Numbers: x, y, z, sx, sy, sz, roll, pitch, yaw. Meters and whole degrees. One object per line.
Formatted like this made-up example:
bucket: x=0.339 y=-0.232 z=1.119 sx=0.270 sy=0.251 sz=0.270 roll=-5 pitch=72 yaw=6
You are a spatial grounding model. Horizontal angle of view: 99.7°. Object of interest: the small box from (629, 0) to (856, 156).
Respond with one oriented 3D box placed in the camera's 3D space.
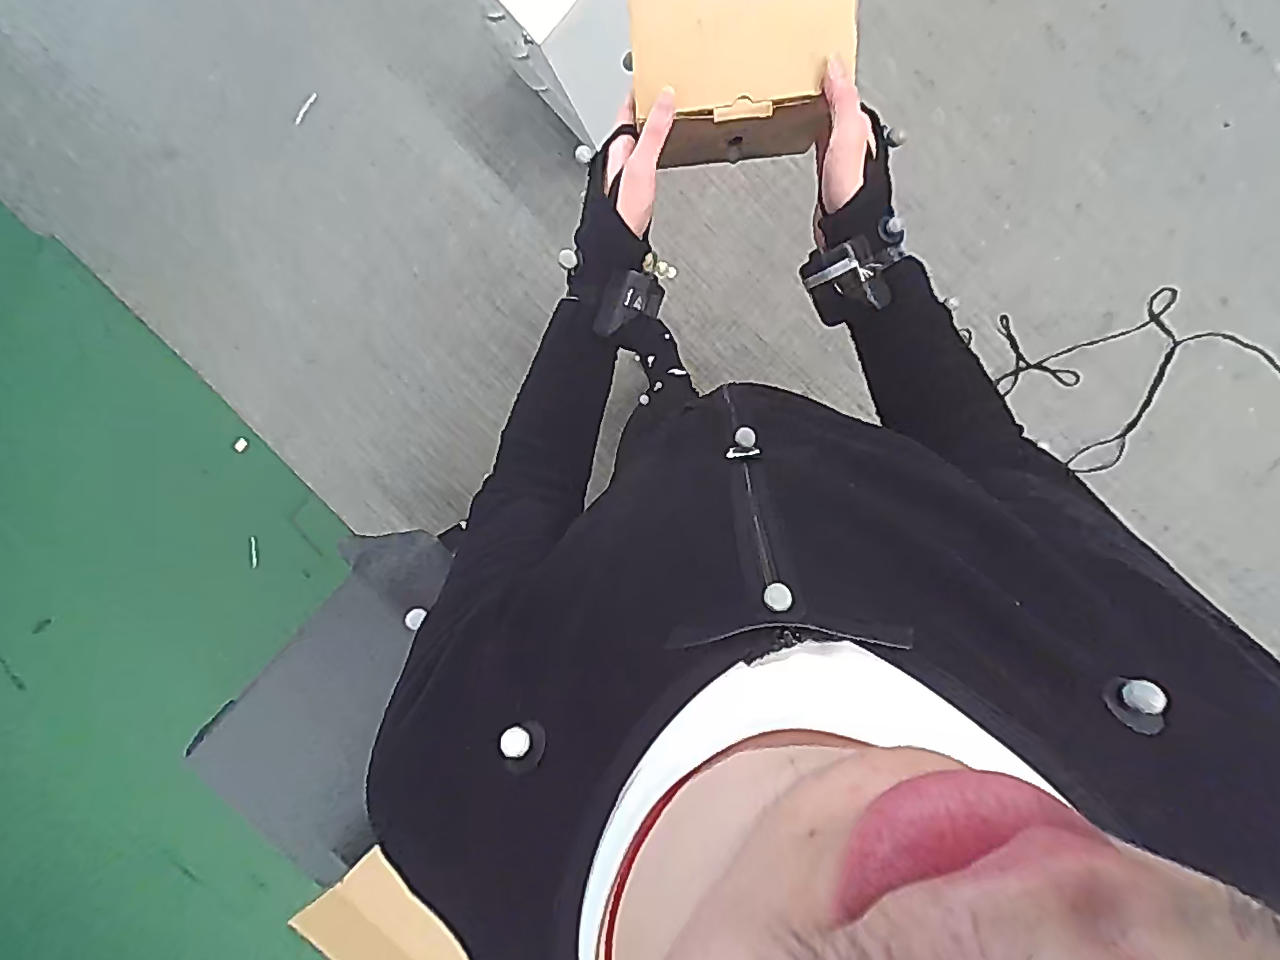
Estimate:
small box: x=0.081 y=-0.398 z=0.464 sx=0.168 sy=0.176 sz=0.179 roll=-5 pitch=108 yaw=8
